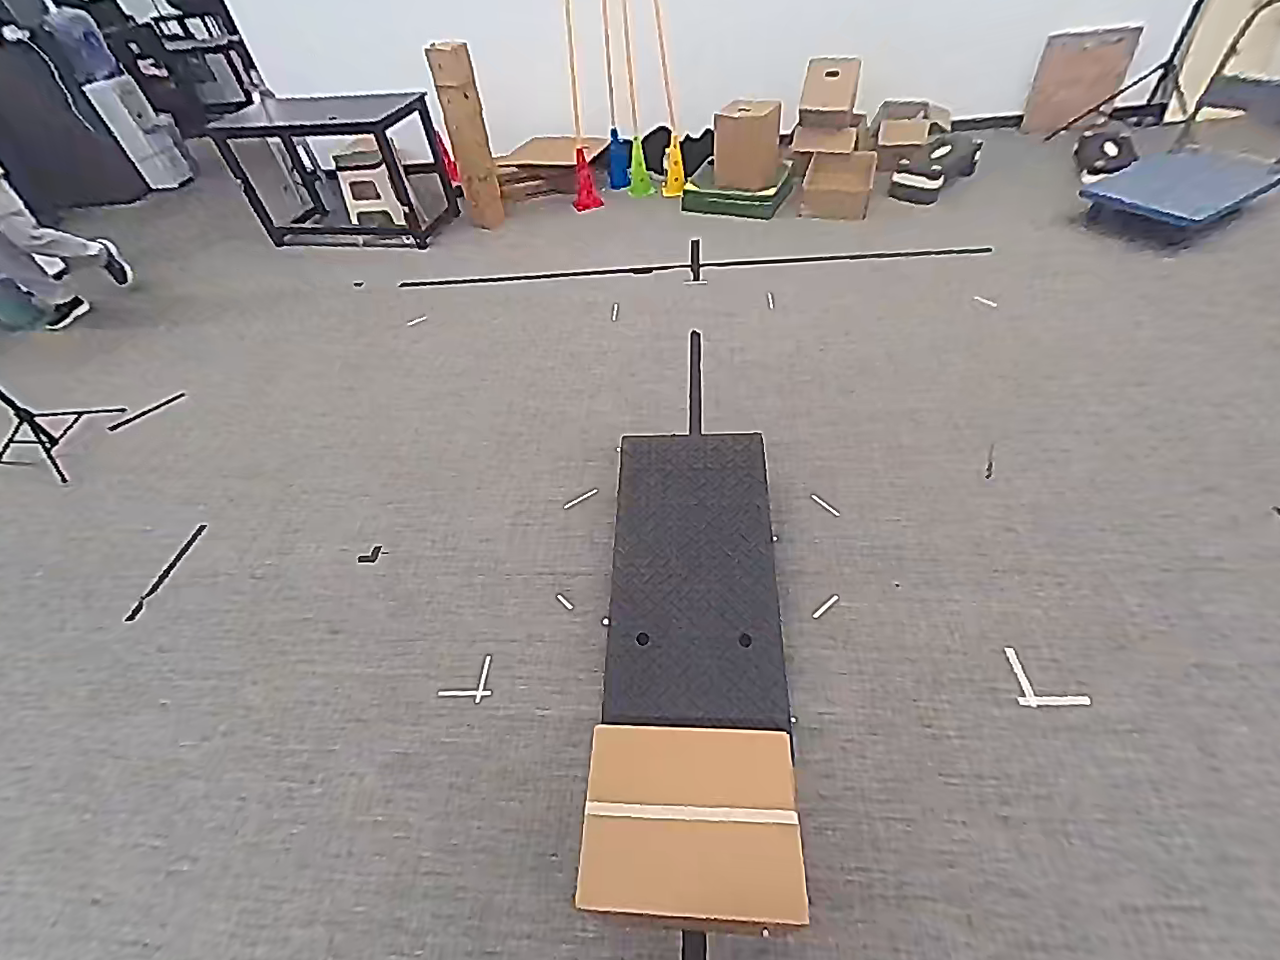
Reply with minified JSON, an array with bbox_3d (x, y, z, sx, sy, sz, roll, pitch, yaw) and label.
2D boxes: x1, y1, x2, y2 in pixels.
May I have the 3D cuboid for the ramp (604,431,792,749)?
[{"bbox_3d":[0.165,0.260,1.638,0.509,0.206,0.991,-1,48,4],"label":"ramp"}]

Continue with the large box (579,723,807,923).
[{"bbox_3d":[0.110,0.730,1.149,0.408,0.320,0.320,-1,47,6],"label":"large box"}]
